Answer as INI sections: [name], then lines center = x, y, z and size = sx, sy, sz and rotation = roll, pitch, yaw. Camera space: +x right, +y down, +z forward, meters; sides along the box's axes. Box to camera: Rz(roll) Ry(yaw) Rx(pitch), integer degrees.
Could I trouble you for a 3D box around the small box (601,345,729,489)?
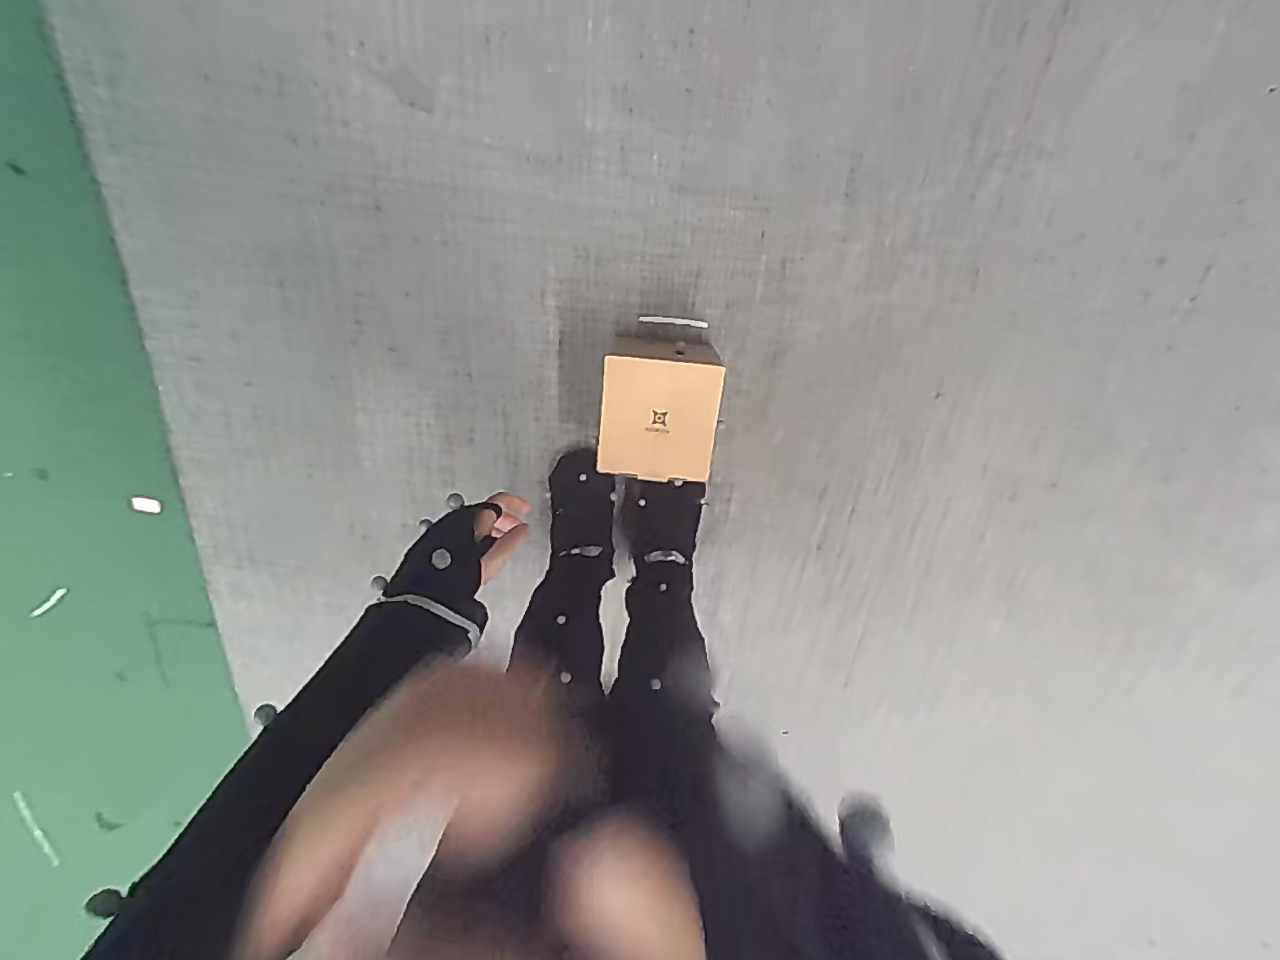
[small box]
center = 0.033, -0.106, 0.844
size = 0.168, 0.176, 0.179
rotation = 6, 114, -2
